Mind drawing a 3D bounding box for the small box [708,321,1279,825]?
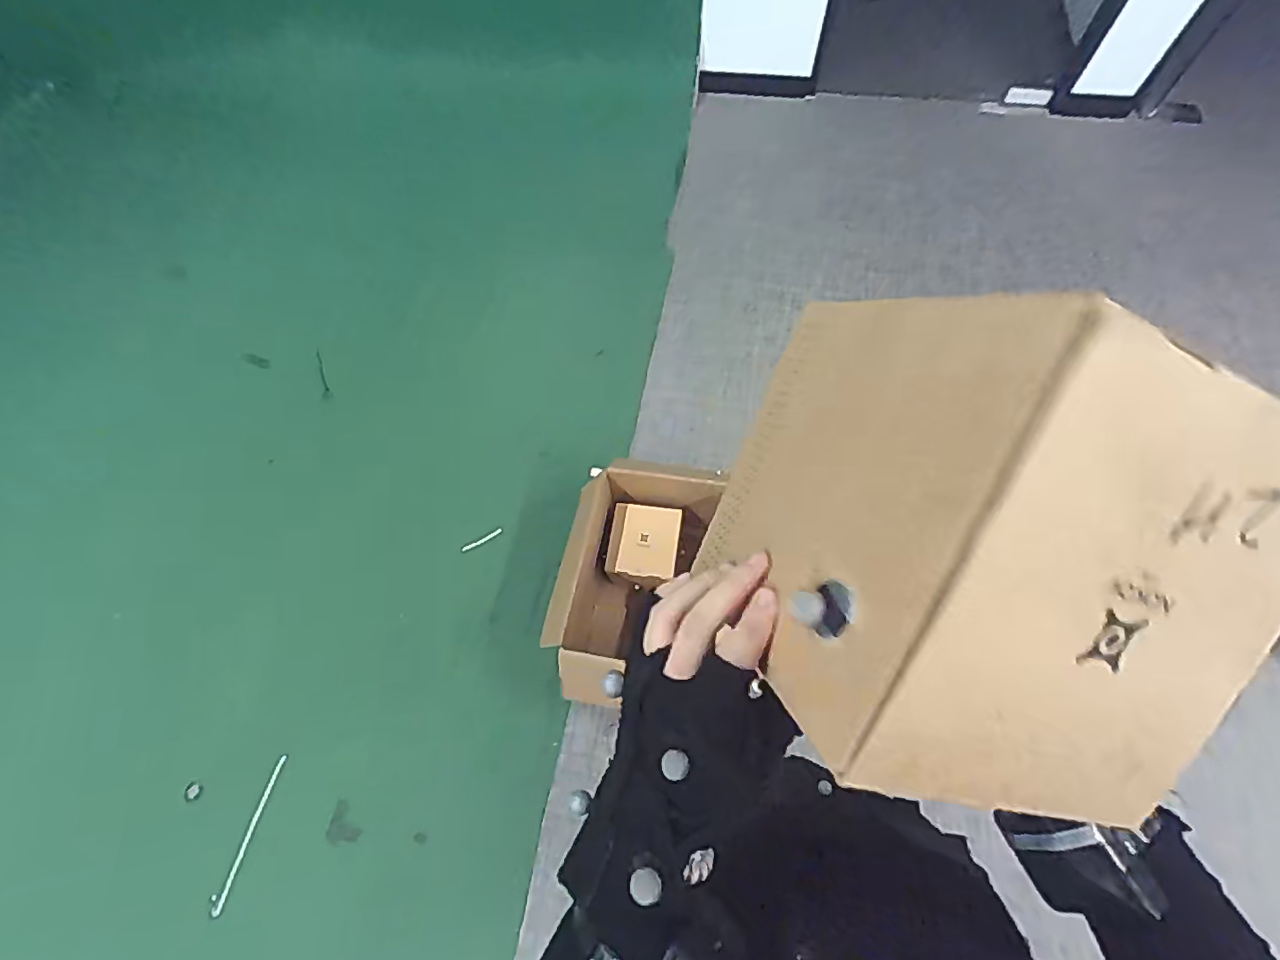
[{"bbox_3d":[0.154,0.032,0.279,0.168,0.176,0.179,18,103,-19],"label":"small box"}]
